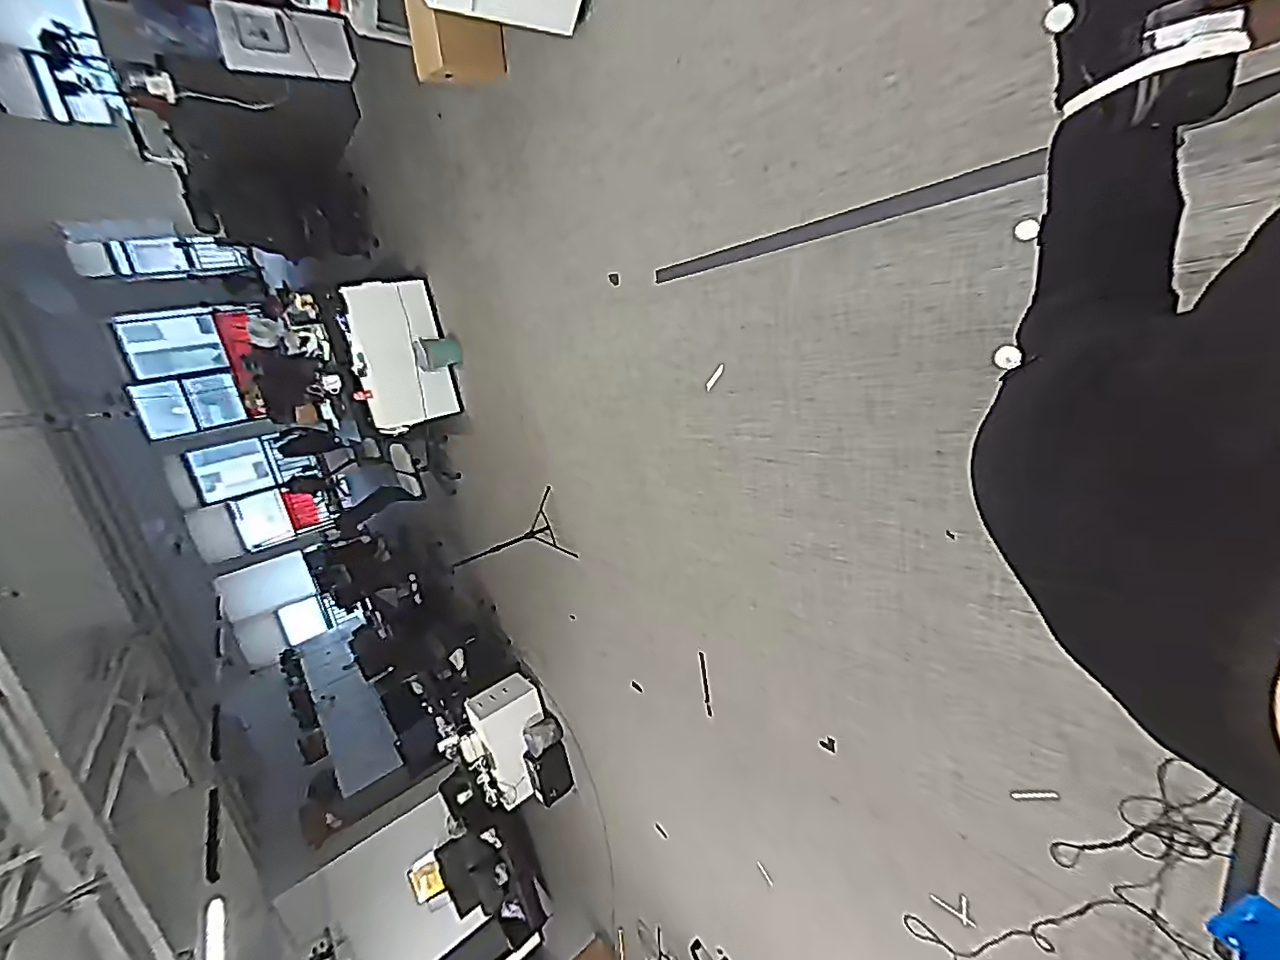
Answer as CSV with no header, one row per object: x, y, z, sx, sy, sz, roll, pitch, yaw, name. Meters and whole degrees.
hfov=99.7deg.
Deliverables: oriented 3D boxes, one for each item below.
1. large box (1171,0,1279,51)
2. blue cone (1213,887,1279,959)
0.550,-0.487,0.248,0.408,0.320,0.320,8,118,51,large box
1.364,1.111,1.158,0.193,0.380,0.192,35,134,39,blue cone
